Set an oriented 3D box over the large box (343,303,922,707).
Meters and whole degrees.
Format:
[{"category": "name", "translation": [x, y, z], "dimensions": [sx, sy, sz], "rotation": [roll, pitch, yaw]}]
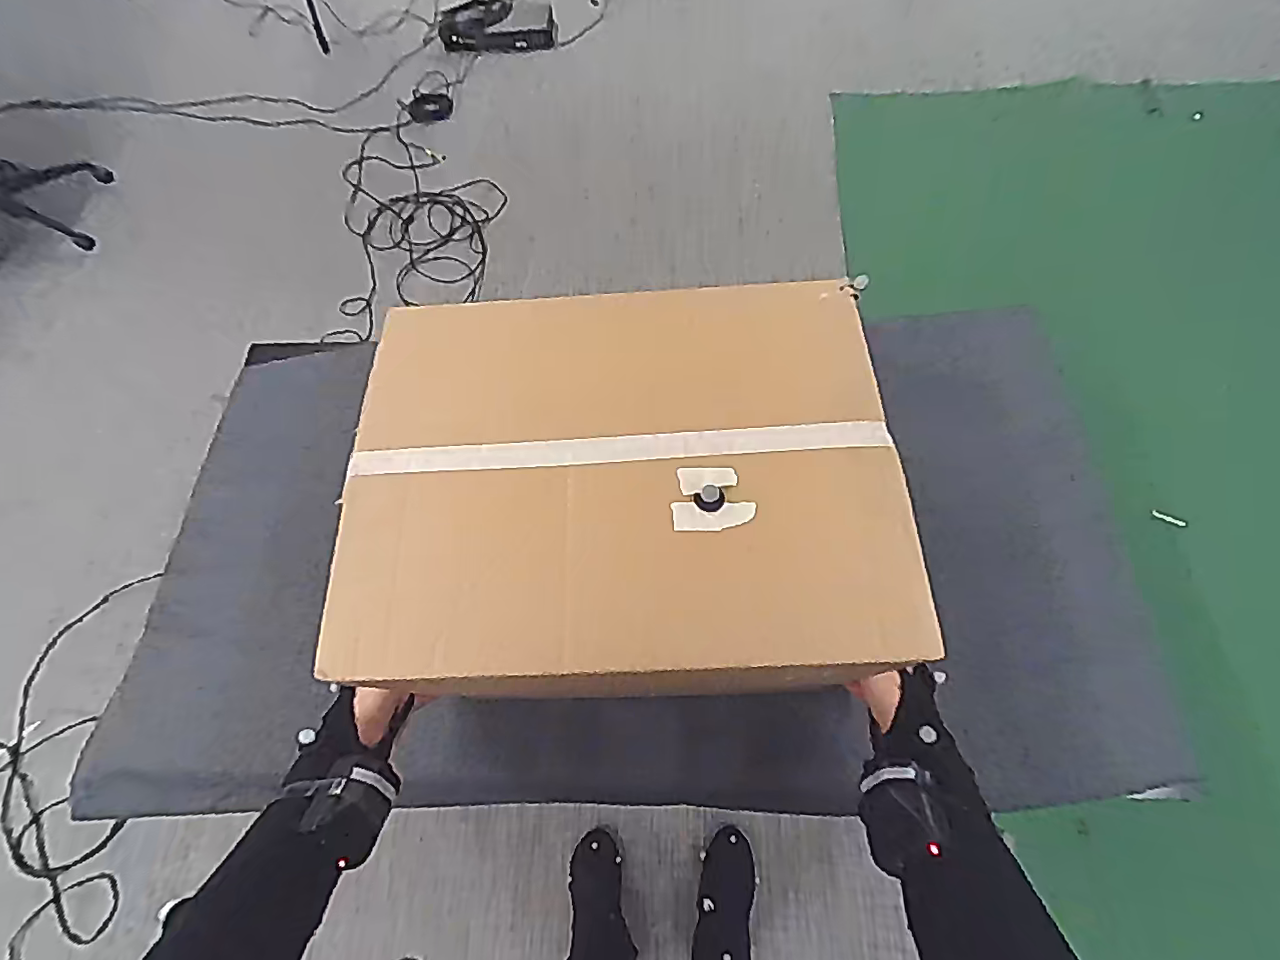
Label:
[{"category": "large box", "translation": [-0.008, 0.054, 0.561], "dimensions": [0.408, 0.320, 0.320], "rotation": [-3, 66, 2]}]
